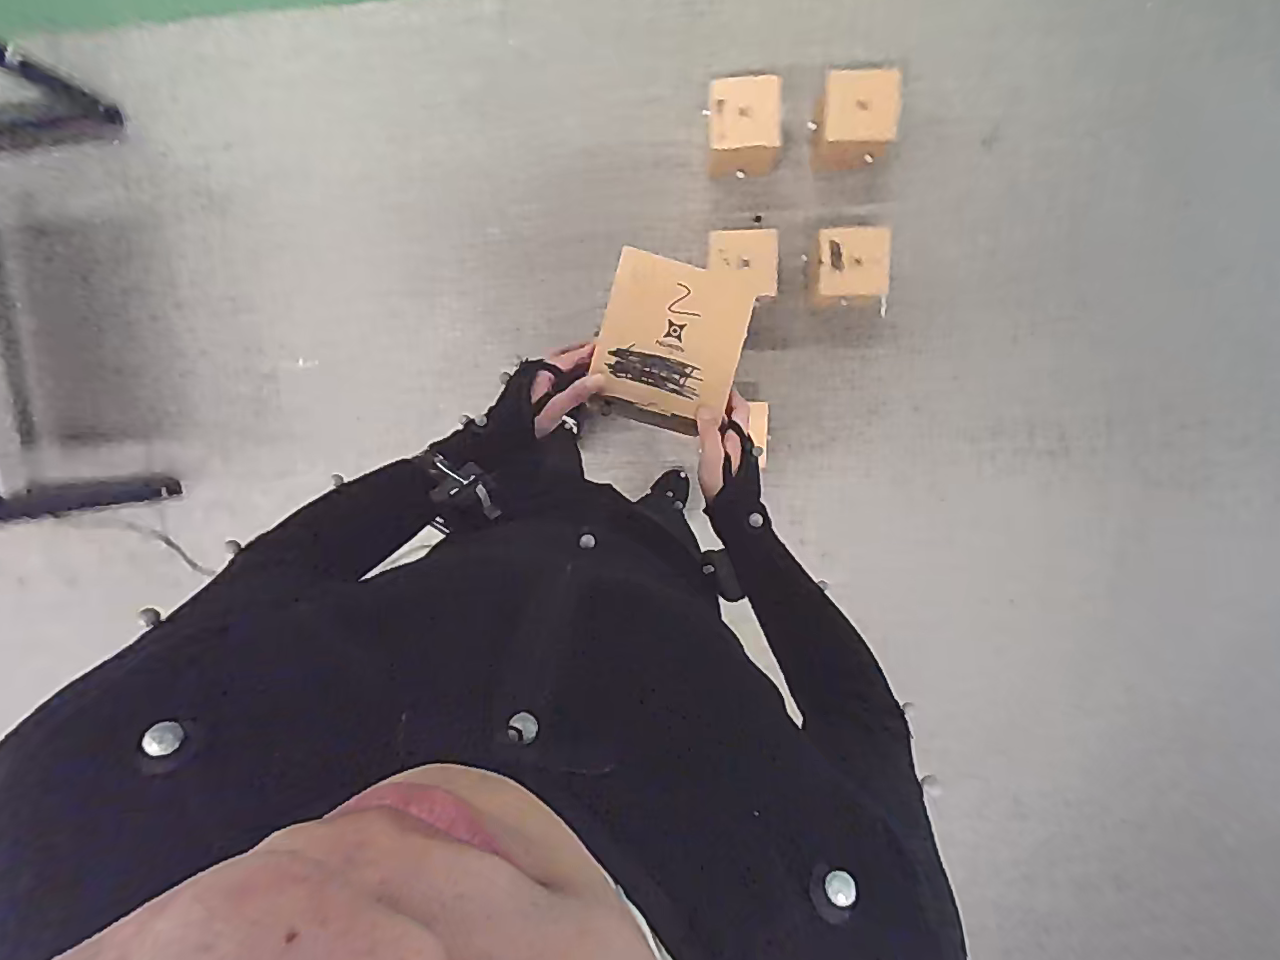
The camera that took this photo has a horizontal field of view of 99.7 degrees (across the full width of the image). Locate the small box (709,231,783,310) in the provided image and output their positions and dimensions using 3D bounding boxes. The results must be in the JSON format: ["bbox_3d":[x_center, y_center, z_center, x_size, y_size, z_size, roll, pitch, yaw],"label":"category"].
[{"bbox_3d":[0.281,-0.561,1.461,0.179,0.176,0.168,1,97,5],"label":"small box"}]

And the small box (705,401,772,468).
[{"bbox_3d":[0.270,-0.129,1.514,0.168,0.176,0.179,1,97,5],"label":"small box"}]

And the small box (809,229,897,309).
[{"bbox_3d":[0.558,-0.556,1.439,0.179,0.176,0.168,1,97,4],"label":"small box"}]

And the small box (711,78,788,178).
[{"bbox_3d":[0.282,-0.916,1.420,0.179,0.176,0.168,-1,96,4],"label":"small box"}]
